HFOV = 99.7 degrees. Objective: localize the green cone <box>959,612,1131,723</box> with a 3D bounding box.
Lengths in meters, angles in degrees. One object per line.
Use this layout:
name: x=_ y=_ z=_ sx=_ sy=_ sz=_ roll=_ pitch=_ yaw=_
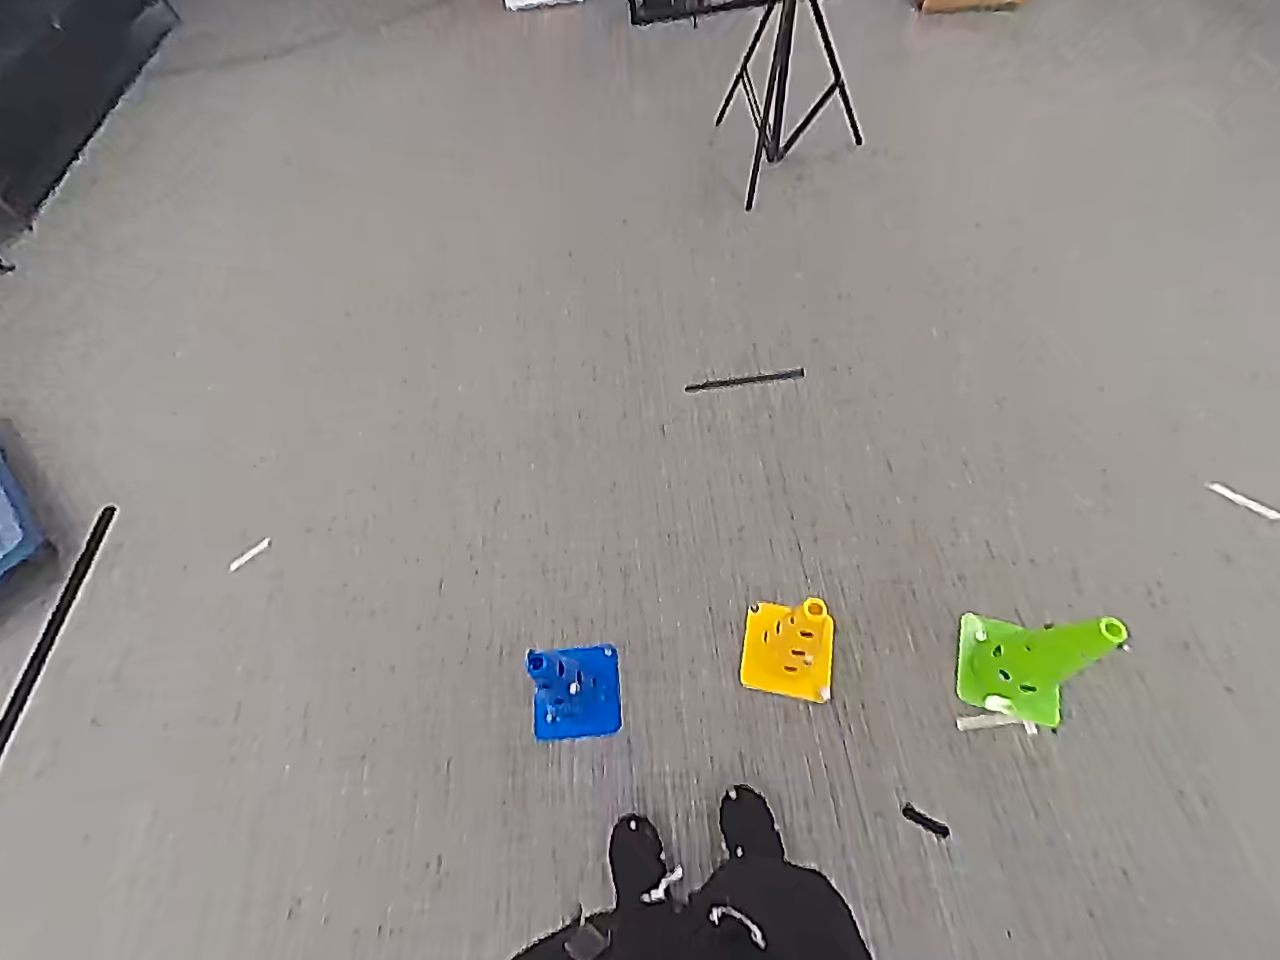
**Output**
green cone: x=0.794 y=0.327 z=1.039 sx=0.200 sy=0.368 sz=0.202 roll=13 pitch=64 yaw=14
